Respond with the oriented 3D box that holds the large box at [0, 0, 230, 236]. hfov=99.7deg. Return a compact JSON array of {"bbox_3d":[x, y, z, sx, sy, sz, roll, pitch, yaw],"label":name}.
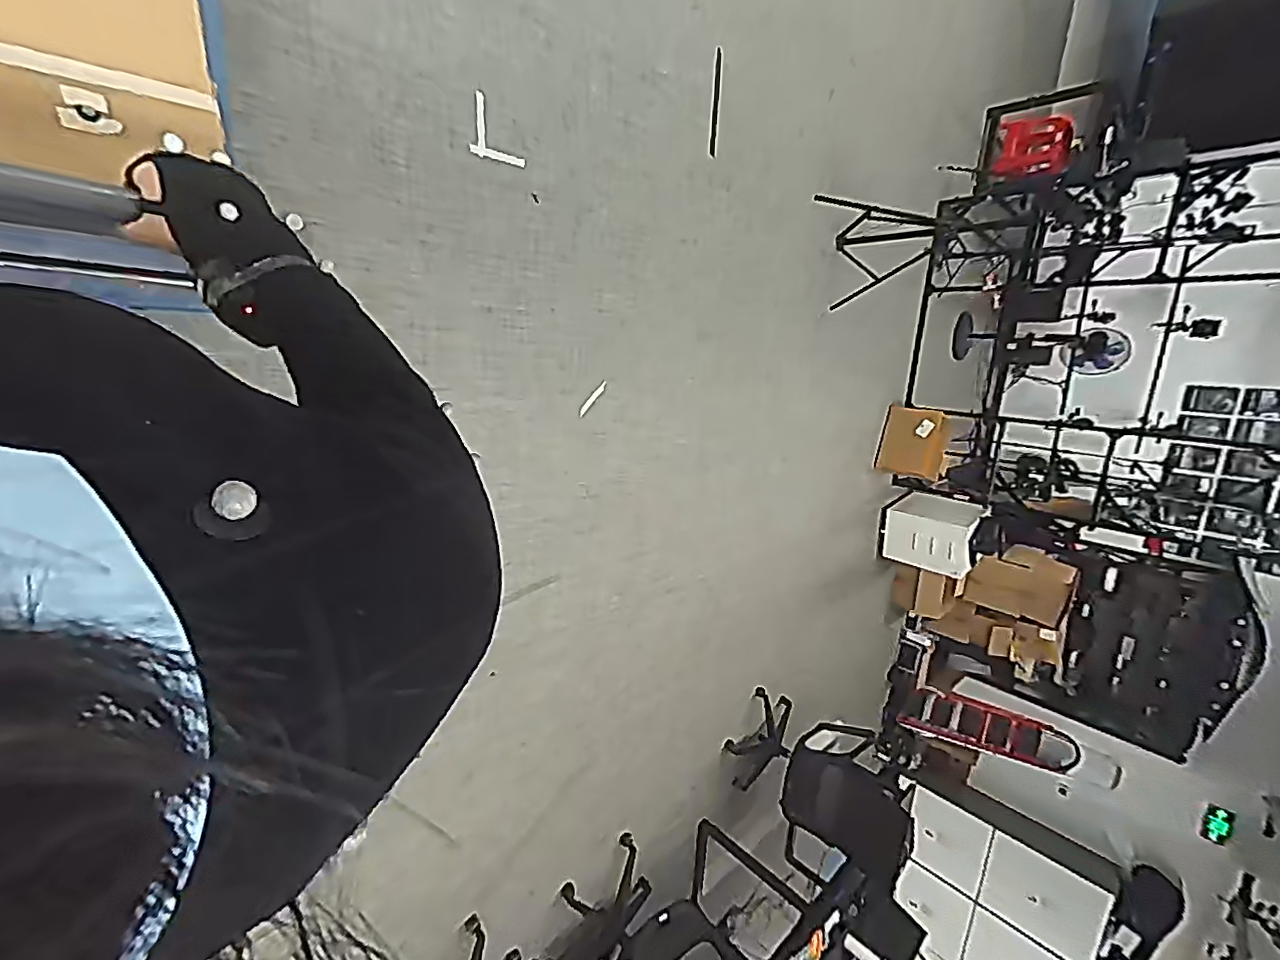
[{"bbox_3d":[-0.858,-0.536,0.734,0.408,0.320,0.320,-14,112,-44],"label":"large box"}]
